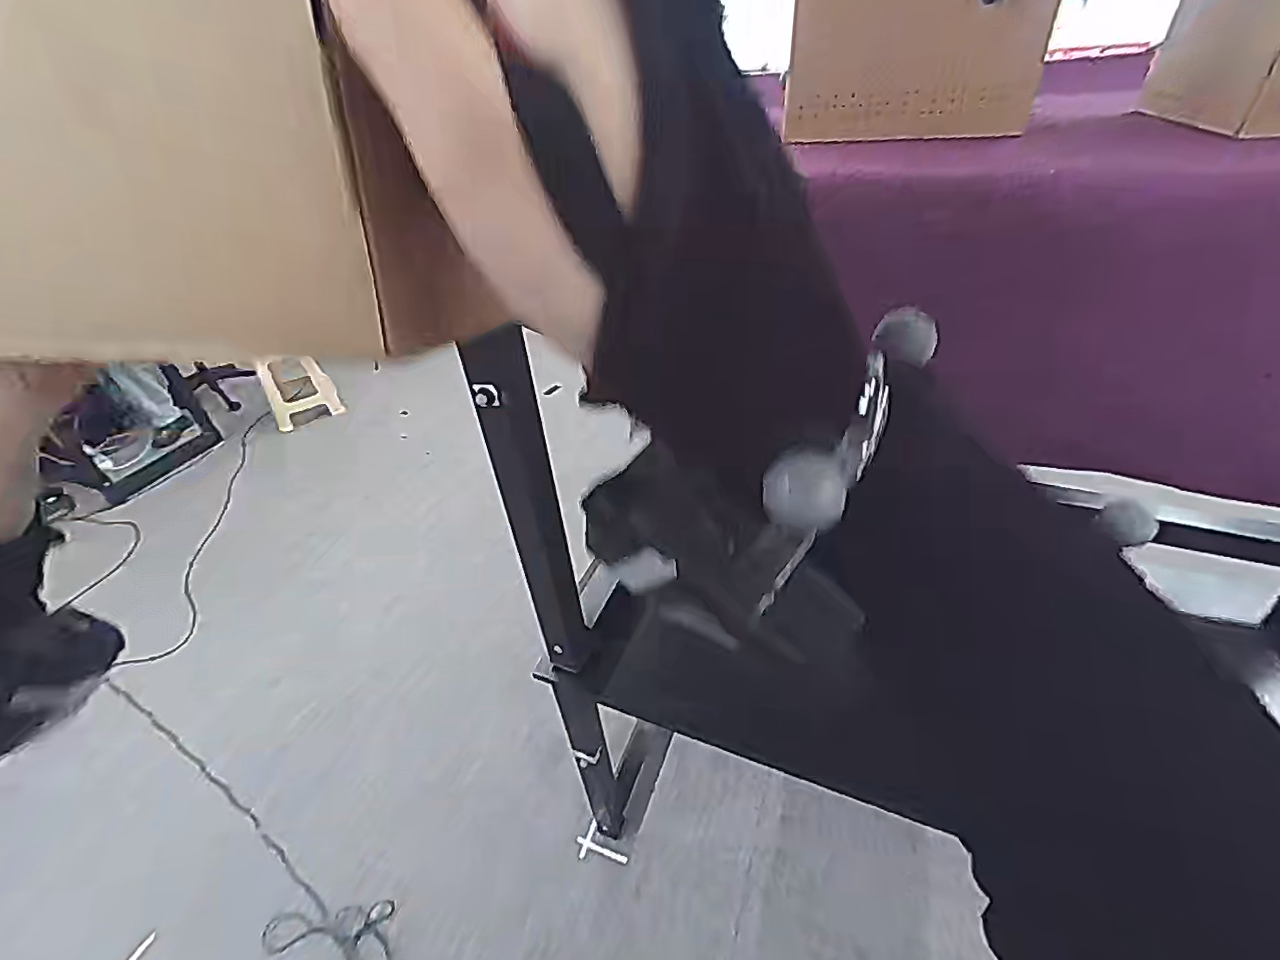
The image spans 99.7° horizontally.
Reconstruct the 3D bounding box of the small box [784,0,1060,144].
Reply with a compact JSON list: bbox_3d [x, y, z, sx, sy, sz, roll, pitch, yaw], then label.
[{"bbox_3d":[0.220,-0.376,0.426,0.179,0.176,0.168,9,39,18],"label":"small box"}]

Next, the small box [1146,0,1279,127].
[{"bbox_3d":[0.463,-0.314,0.319,0.168,0.176,0.179,8,39,16],"label":"small box"}]
